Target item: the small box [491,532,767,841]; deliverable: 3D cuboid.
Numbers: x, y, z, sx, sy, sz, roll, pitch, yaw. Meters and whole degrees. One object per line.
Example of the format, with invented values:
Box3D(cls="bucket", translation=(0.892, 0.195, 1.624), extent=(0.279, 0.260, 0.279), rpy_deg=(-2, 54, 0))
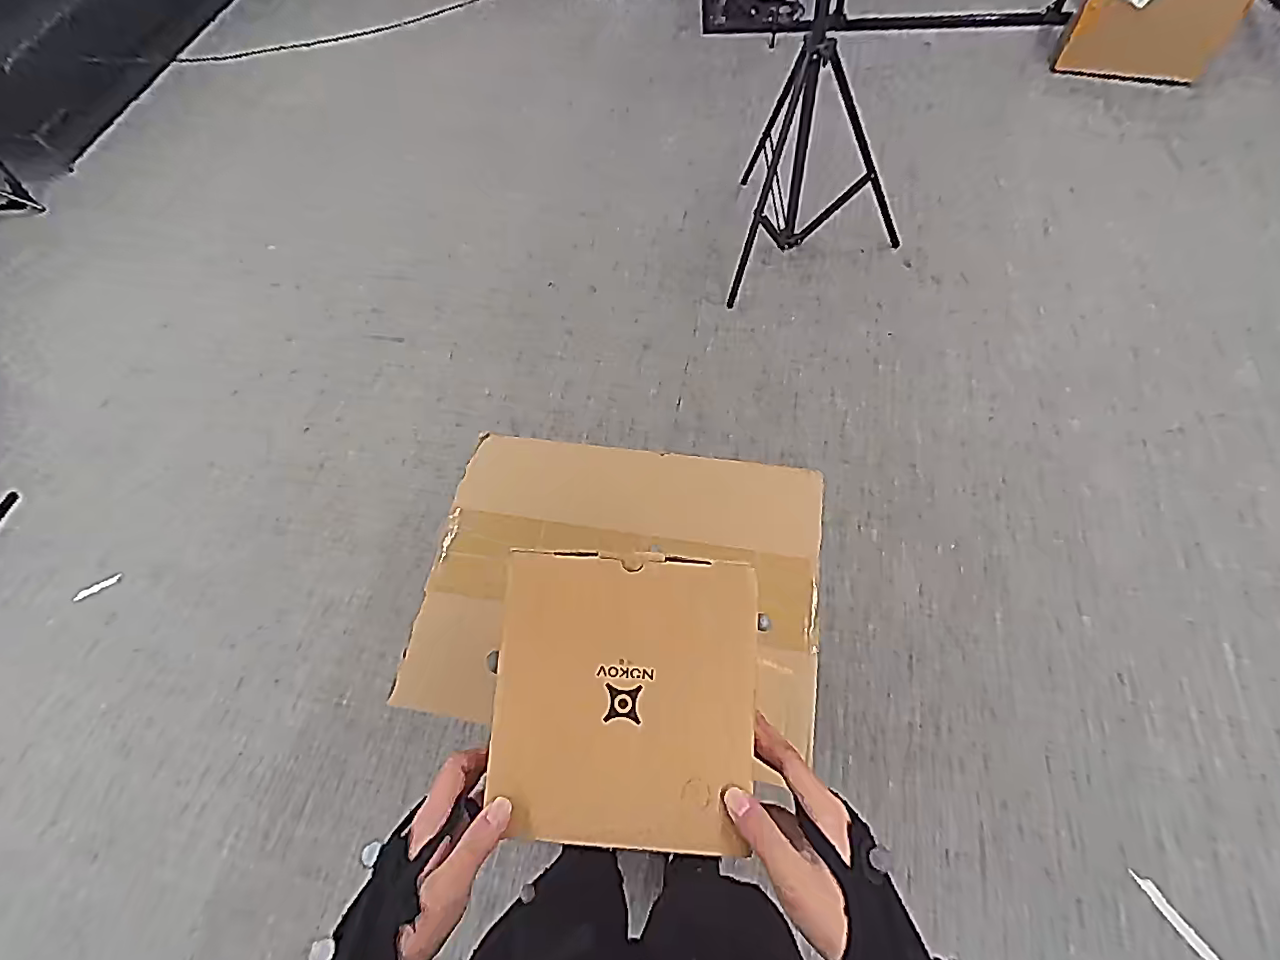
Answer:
Box3D(cls="small box", translation=(-0.001, 0.138, 0.416), extent=(0.168, 0.176, 0.179), rpy_deg=(3, 79, 2))
